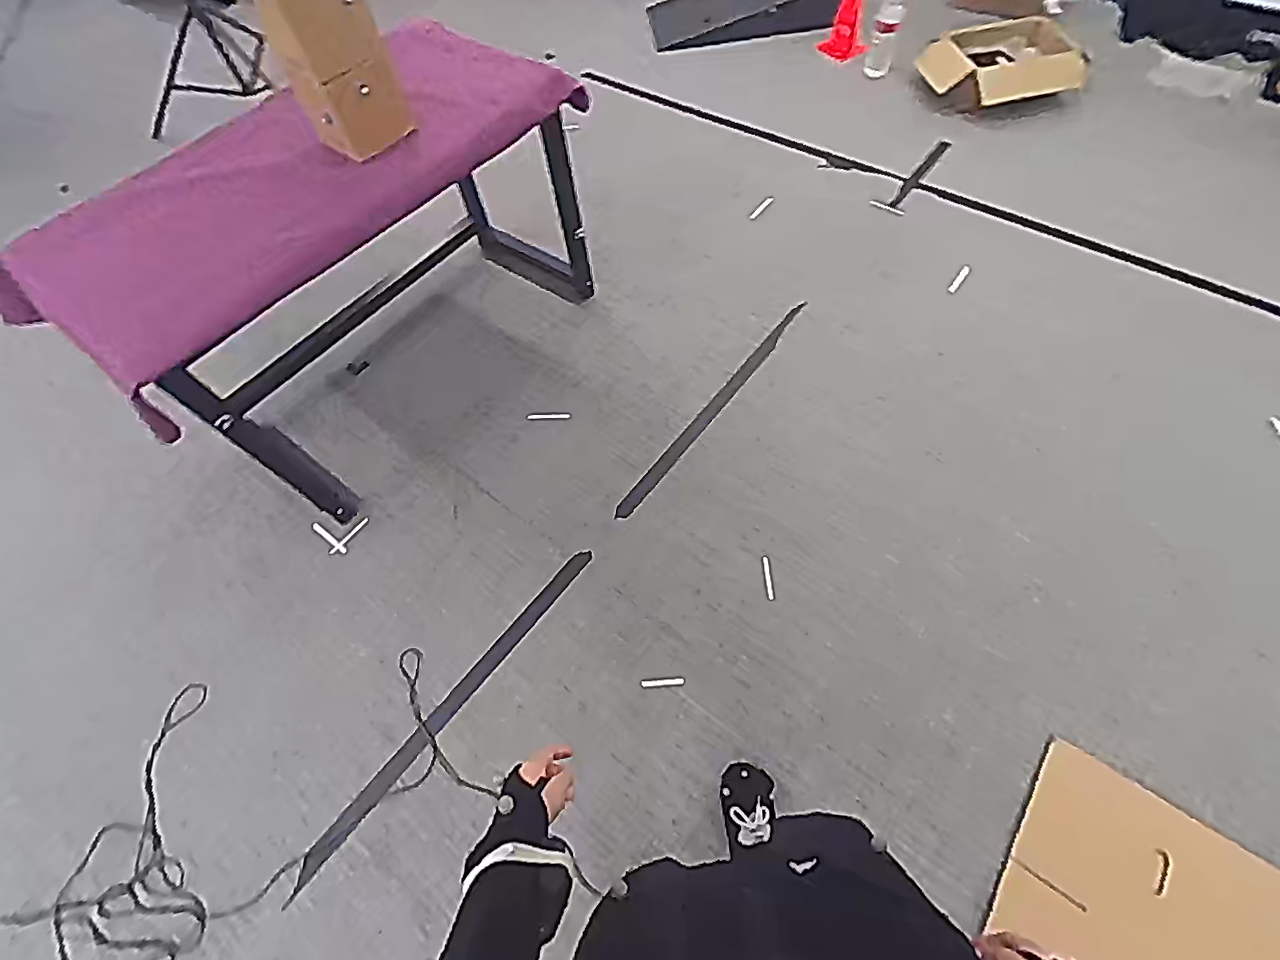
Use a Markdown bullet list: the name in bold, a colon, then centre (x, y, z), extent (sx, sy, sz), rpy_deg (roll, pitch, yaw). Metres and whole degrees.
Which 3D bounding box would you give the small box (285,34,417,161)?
- **small box**: centre (-0.655, -0.875, 1.247), extent (0.168, 0.176, 0.179), rpy_deg (36, 69, 20)
